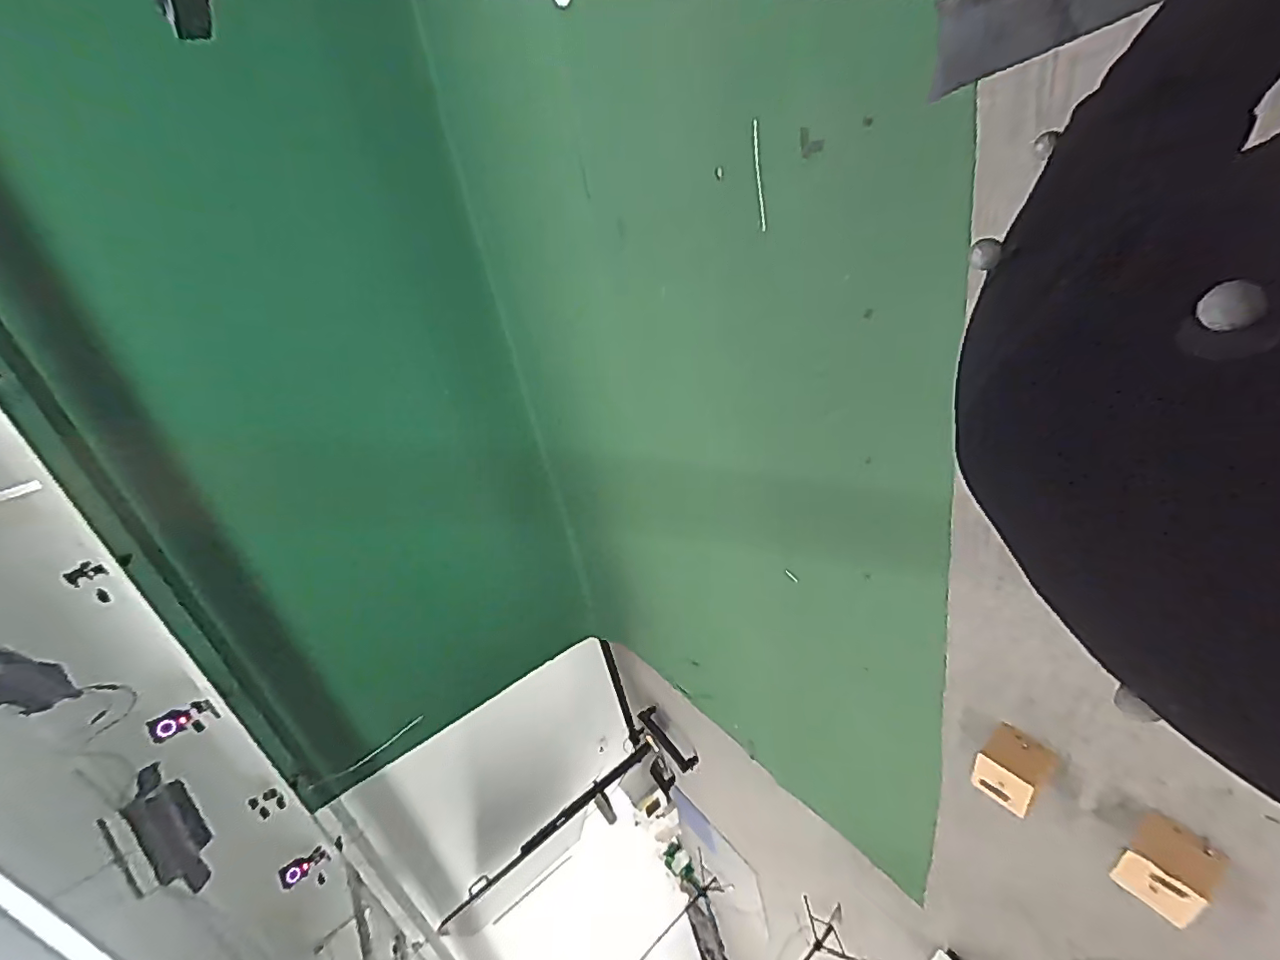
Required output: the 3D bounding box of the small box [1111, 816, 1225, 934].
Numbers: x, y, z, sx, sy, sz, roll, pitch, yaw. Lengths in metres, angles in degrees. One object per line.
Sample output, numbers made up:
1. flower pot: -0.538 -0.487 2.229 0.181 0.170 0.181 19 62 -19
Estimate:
1. small box: 1.463 1.085 1.499 0.168 0.176 0.179 31 140 47
